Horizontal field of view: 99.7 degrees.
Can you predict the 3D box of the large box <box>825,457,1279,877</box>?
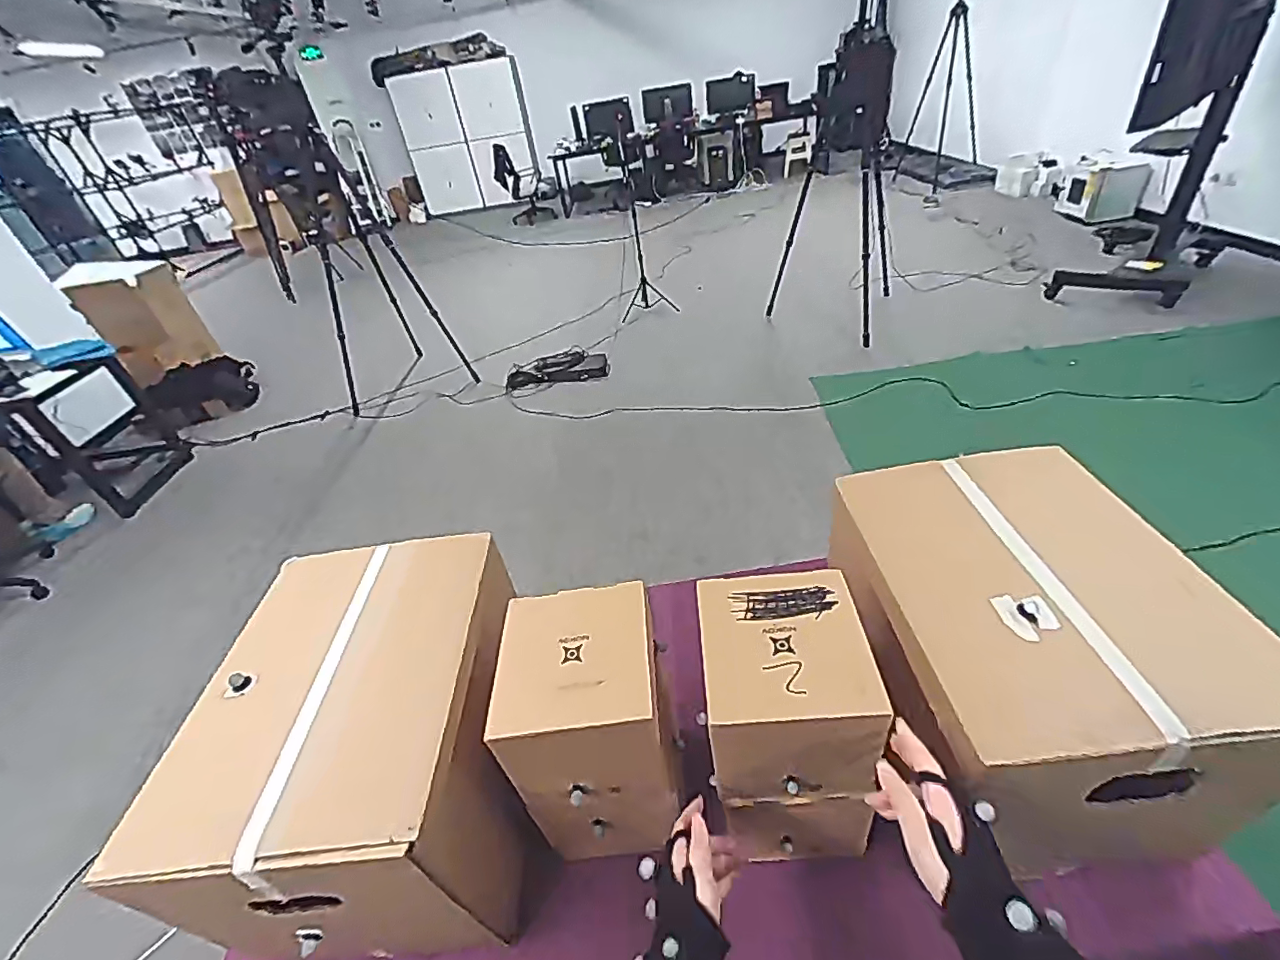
[{"bbox_3d":[0.463,0.221,0.703,0.320,0.320,0.408,-8,38,4],"label":"large box"}]
